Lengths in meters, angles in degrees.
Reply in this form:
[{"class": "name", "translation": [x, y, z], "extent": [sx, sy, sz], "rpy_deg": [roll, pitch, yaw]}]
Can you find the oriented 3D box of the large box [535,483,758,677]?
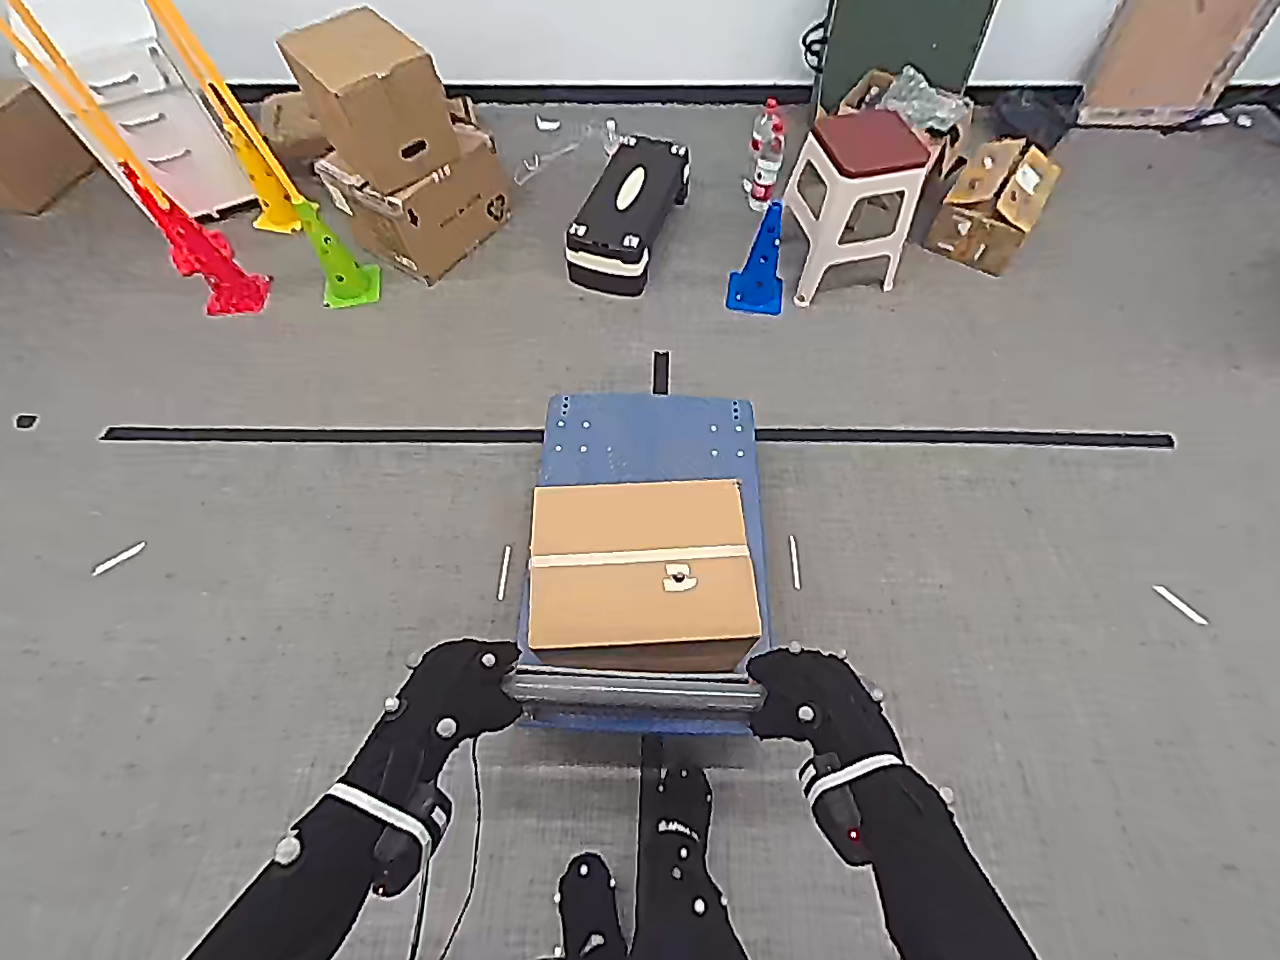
[{"class": "large box", "translation": [-0.001, 0.220, 1.146], "extent": [0.408, 0.320, 0.320], "rpy_deg": [-2, 62, -3]}]
